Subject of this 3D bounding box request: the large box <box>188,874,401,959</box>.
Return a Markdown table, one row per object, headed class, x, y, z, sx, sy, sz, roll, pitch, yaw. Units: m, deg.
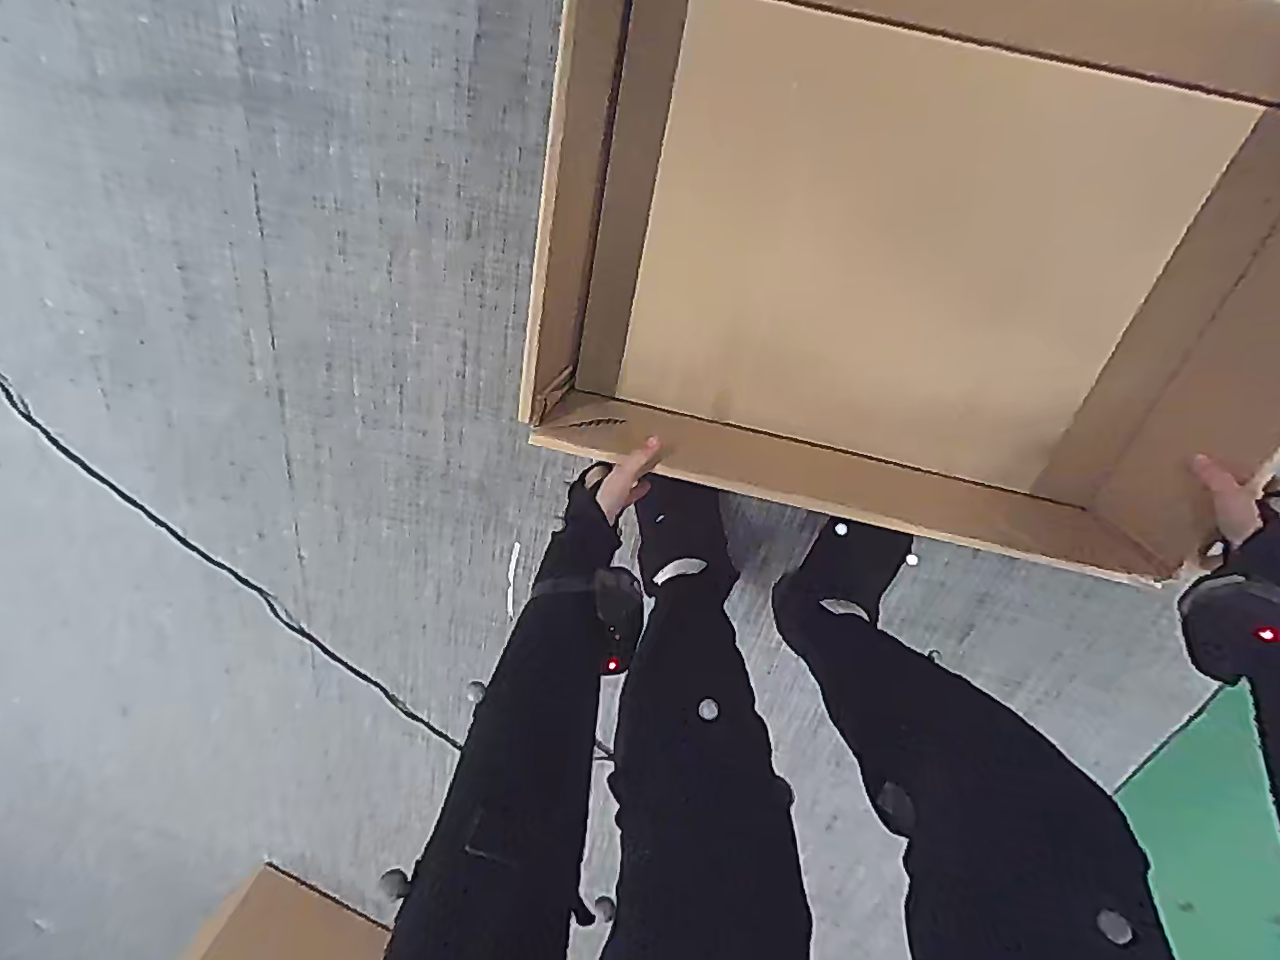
| class | x | y | z | sx | sy | sz | roll | pitch | yaw |
| --- | --- | --- | --- | --- | --- | --- | --- | --- | --- |
| large box | -0.853 | 1.211 | 1.239 | 0.408 | 0.320 | 0.320 | 41 | 114 | -10 |
